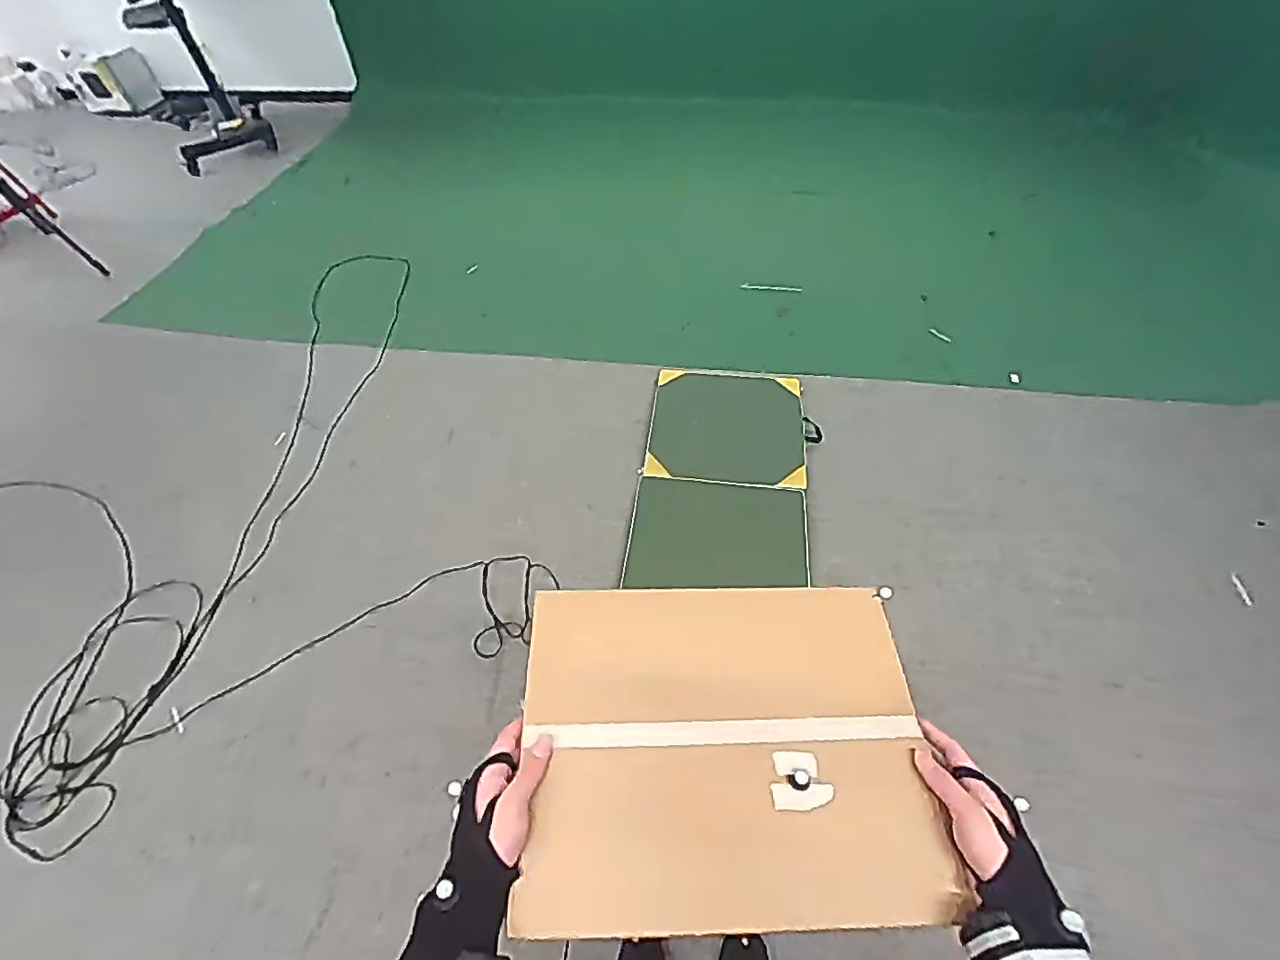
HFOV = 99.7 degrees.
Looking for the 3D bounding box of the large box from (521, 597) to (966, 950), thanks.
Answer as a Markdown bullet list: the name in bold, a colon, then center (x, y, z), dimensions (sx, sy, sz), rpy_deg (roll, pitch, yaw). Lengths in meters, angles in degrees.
- **large box**: center (0.082, 0.357, 0.675), dimensions (0.408, 0.320, 0.320), rpy_deg (0, 54, -3)
